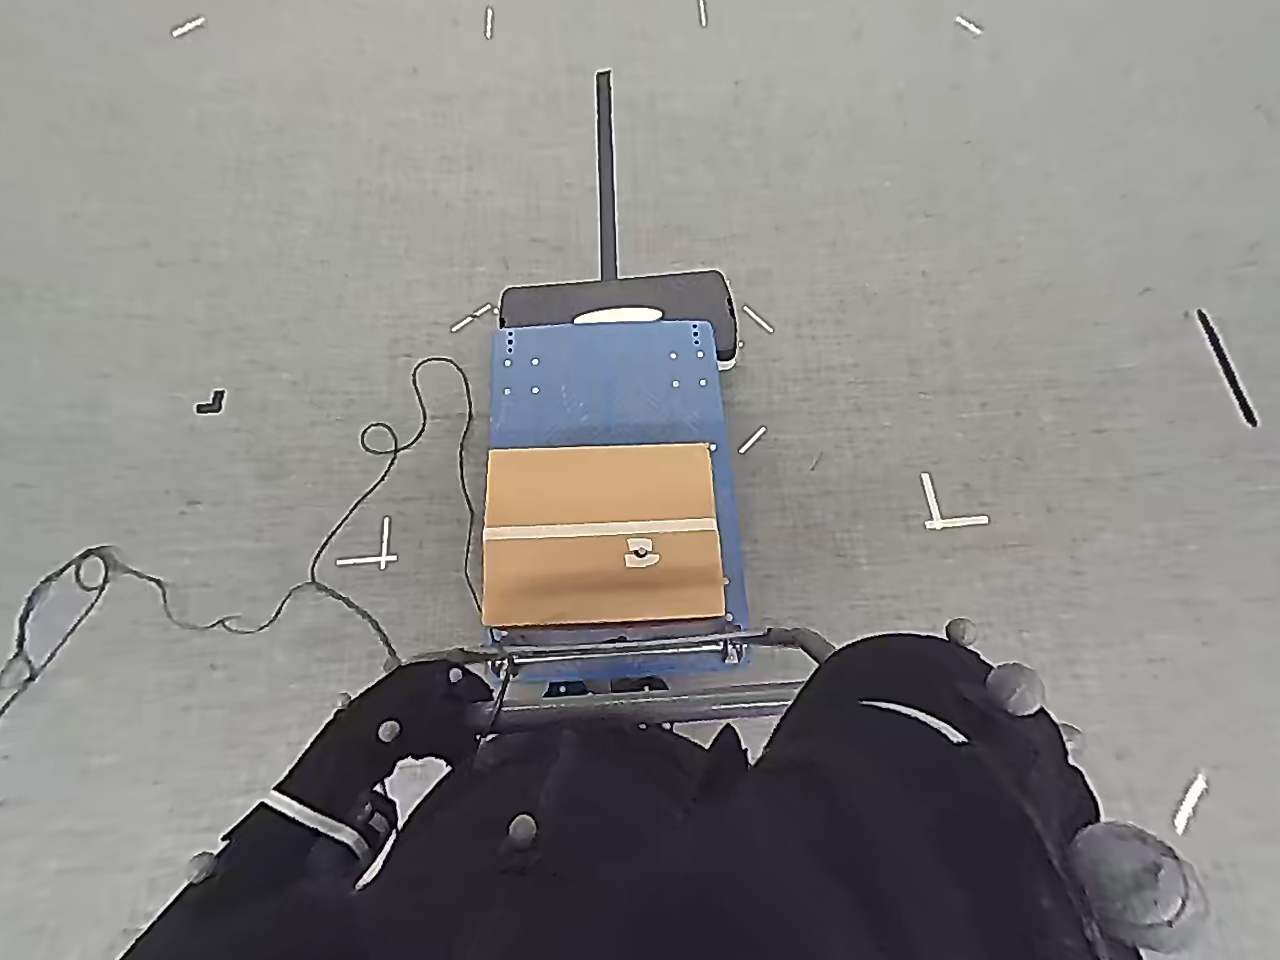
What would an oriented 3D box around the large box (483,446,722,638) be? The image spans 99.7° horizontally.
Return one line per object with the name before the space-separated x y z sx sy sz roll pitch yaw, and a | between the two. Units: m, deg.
large box | -0.075 0.137 1.076 0.408 0.320 0.320 -2 72 -3
